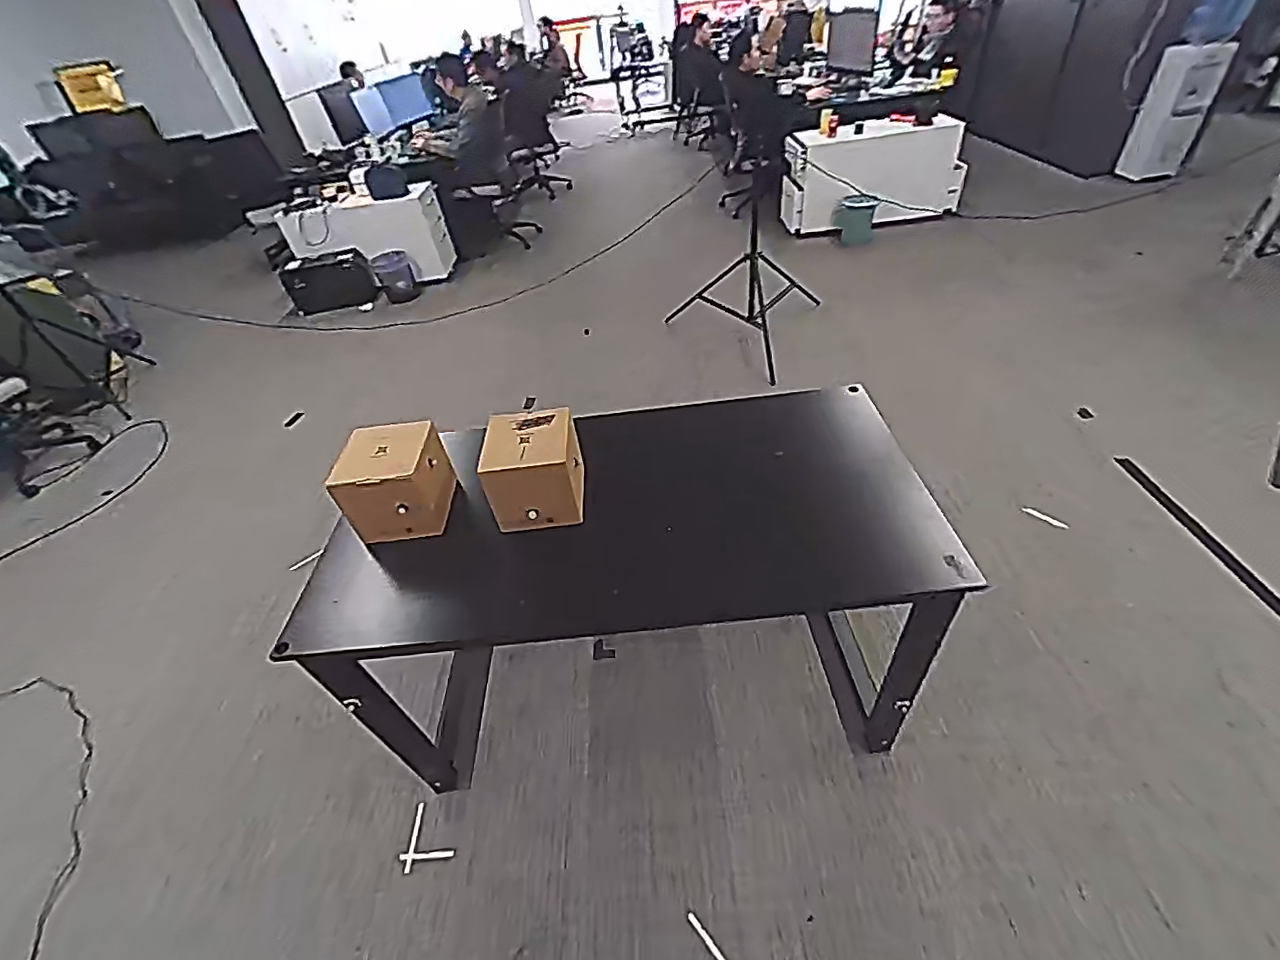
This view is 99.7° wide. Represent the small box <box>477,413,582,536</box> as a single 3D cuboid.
[{"bbox_3d":[-0.213,-0.011,1.094,0.168,0.176,0.179,-7,43,2],"label":"small box"}]

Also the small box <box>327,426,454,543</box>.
[{"bbox_3d":[-0.498,0.015,1.112,0.168,0.176,0.179,-6,41,0],"label":"small box"}]
